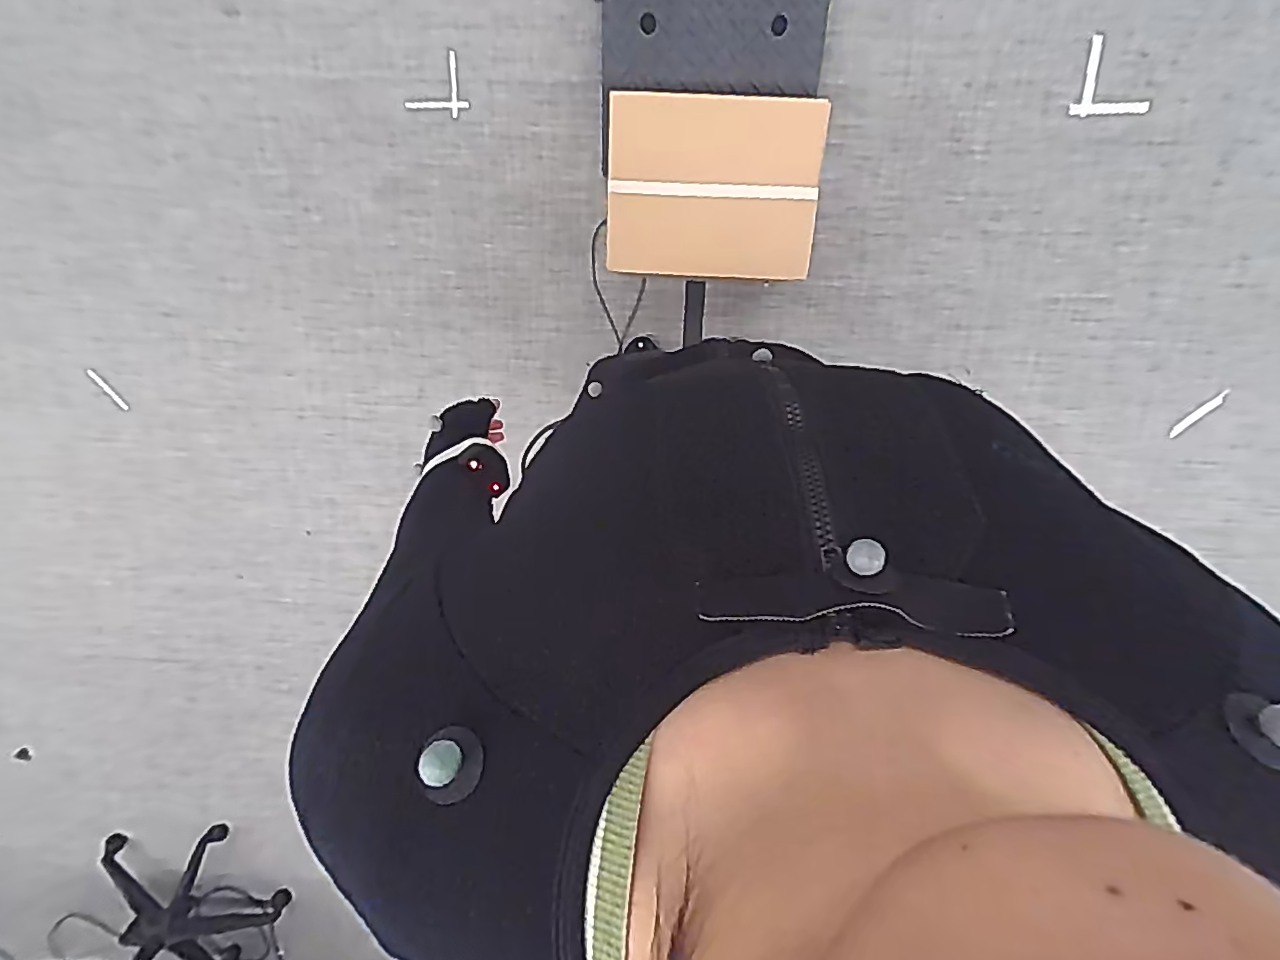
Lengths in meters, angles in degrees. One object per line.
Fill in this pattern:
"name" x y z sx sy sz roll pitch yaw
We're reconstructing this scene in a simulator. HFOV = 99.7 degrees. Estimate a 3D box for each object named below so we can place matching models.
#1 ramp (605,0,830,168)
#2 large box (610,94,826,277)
"ramp" 0.171 -1.197 1.095 0.509 0.206 0.991 1 106 1
"large box" 0.150 -0.614 1.186 0.408 0.320 0.320 3 109 2
